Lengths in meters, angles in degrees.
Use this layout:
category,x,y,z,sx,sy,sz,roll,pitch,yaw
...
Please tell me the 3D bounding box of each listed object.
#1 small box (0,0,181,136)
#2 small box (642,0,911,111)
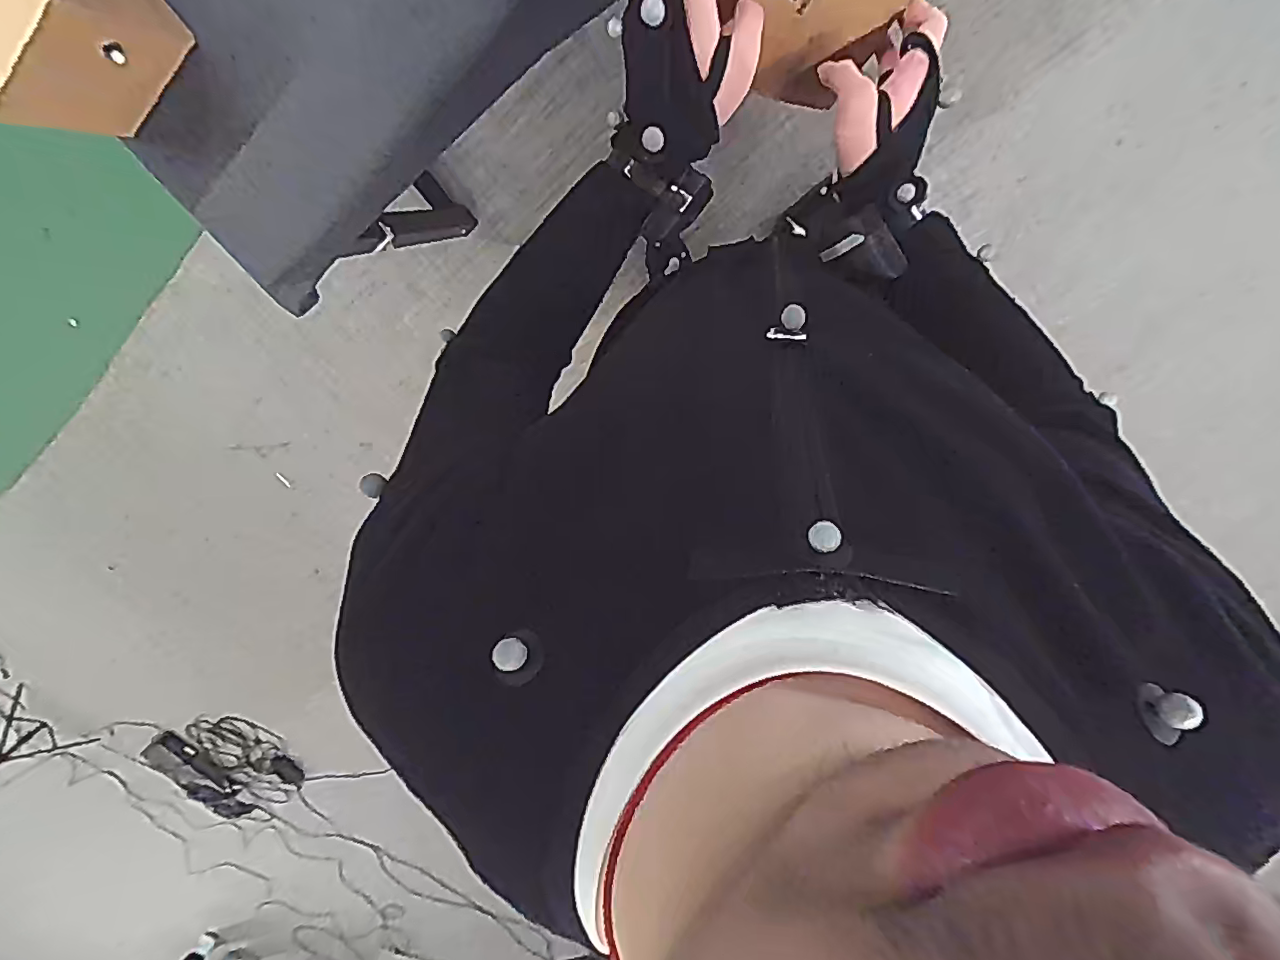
category,x,y,z,sx,sy,sz,roll,pitch,yaw
small box,-0.671,-0.520,0.596,0.179,0.176,0.168,-29,108,20
small box,0.107,-0.426,0.400,0.179,0.168,0.176,-1,76,-20
